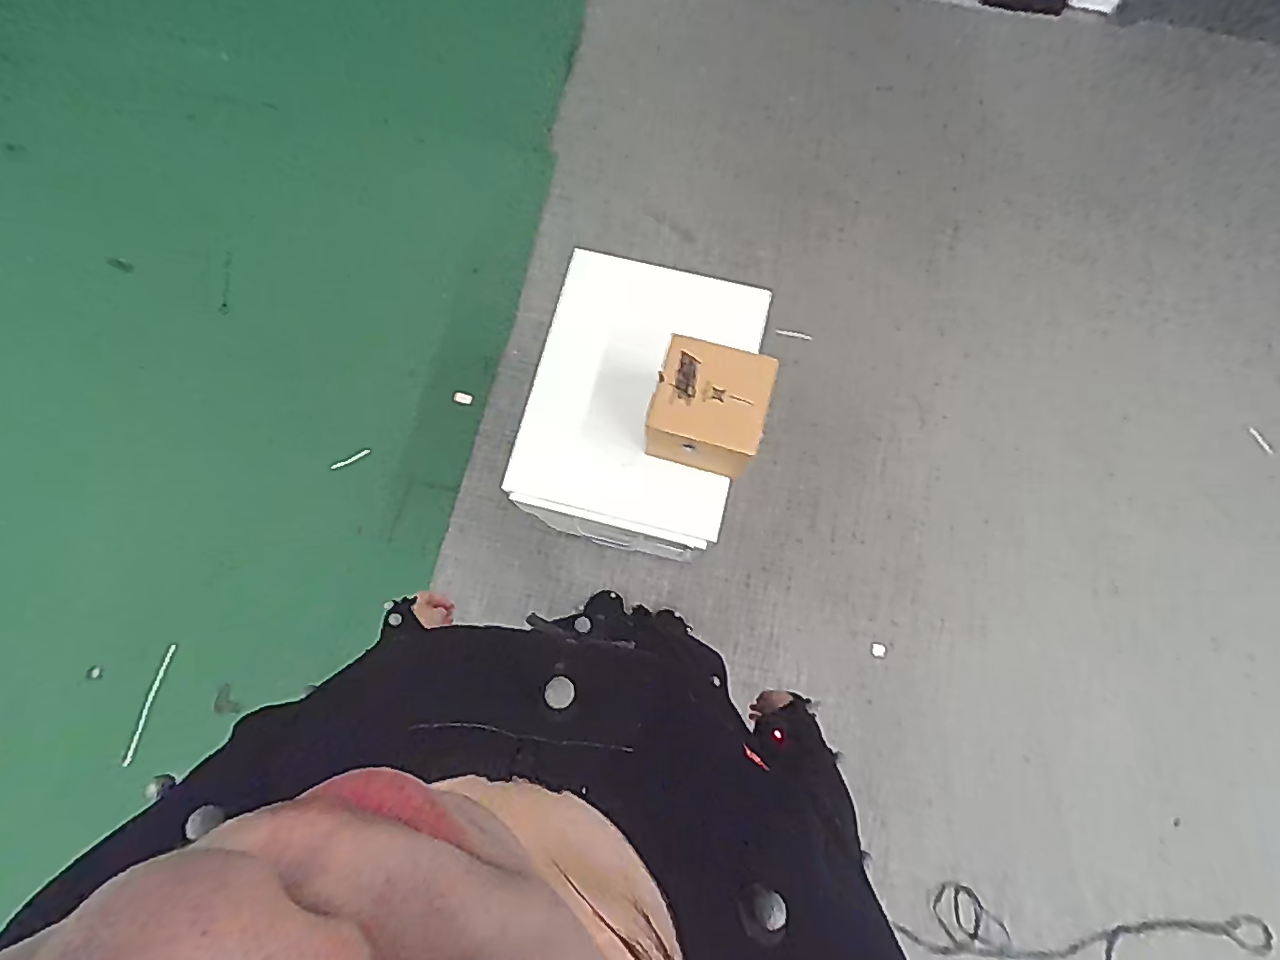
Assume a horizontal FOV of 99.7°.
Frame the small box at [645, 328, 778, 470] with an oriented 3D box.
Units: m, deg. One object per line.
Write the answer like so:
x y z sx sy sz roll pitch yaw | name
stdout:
0.113 -0.128 0.921 0.179 0.176 0.168 16 79 3 | small box
